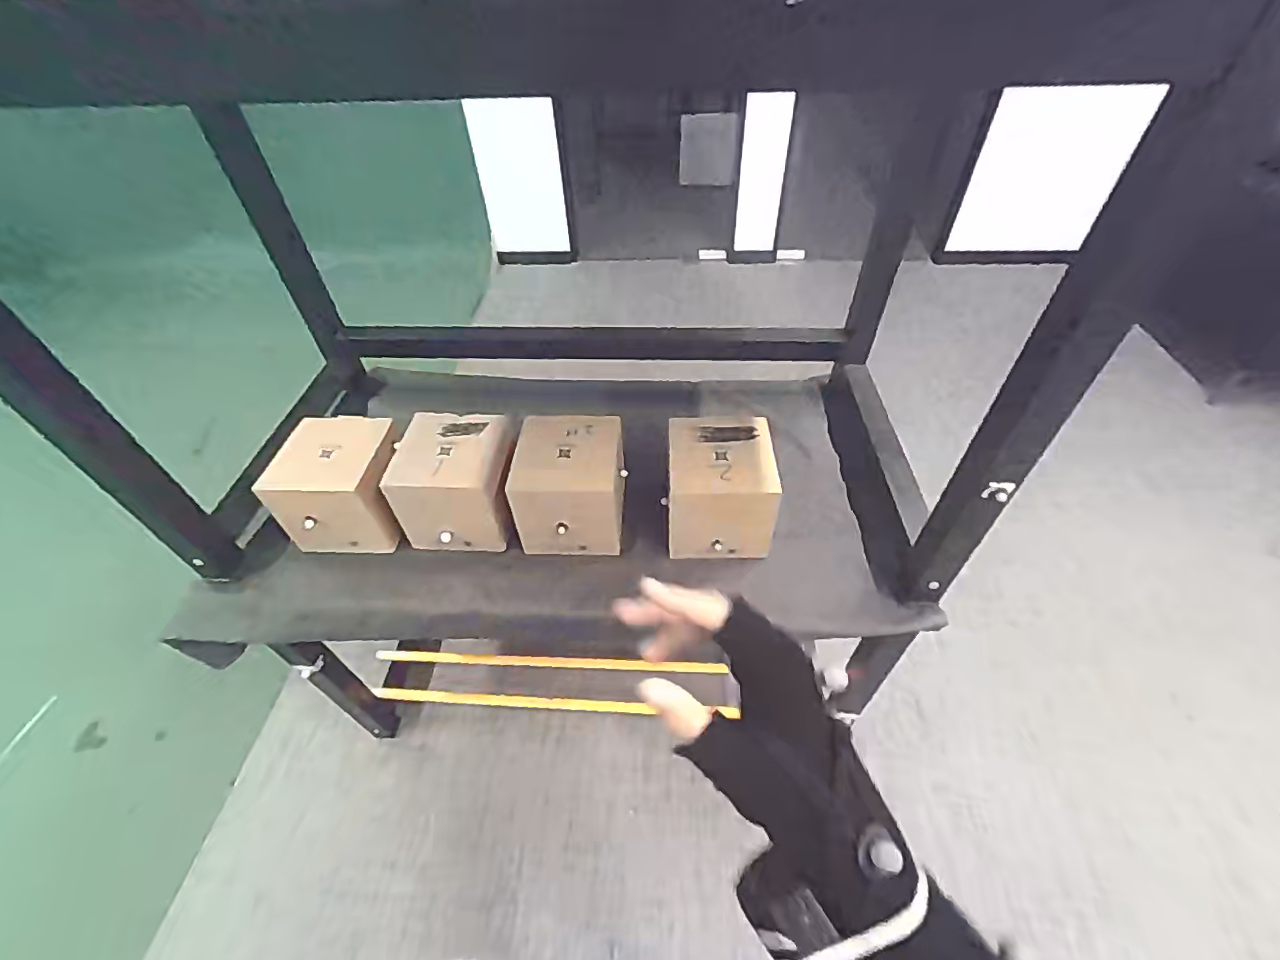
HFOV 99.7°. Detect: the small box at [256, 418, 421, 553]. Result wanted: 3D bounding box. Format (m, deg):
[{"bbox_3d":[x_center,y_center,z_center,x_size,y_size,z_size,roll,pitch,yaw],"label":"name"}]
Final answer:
[{"bbox_3d":[-0.504,0.011,0.940,0.168,0.176,0.179,1,46,3],"label":"small box"}]
